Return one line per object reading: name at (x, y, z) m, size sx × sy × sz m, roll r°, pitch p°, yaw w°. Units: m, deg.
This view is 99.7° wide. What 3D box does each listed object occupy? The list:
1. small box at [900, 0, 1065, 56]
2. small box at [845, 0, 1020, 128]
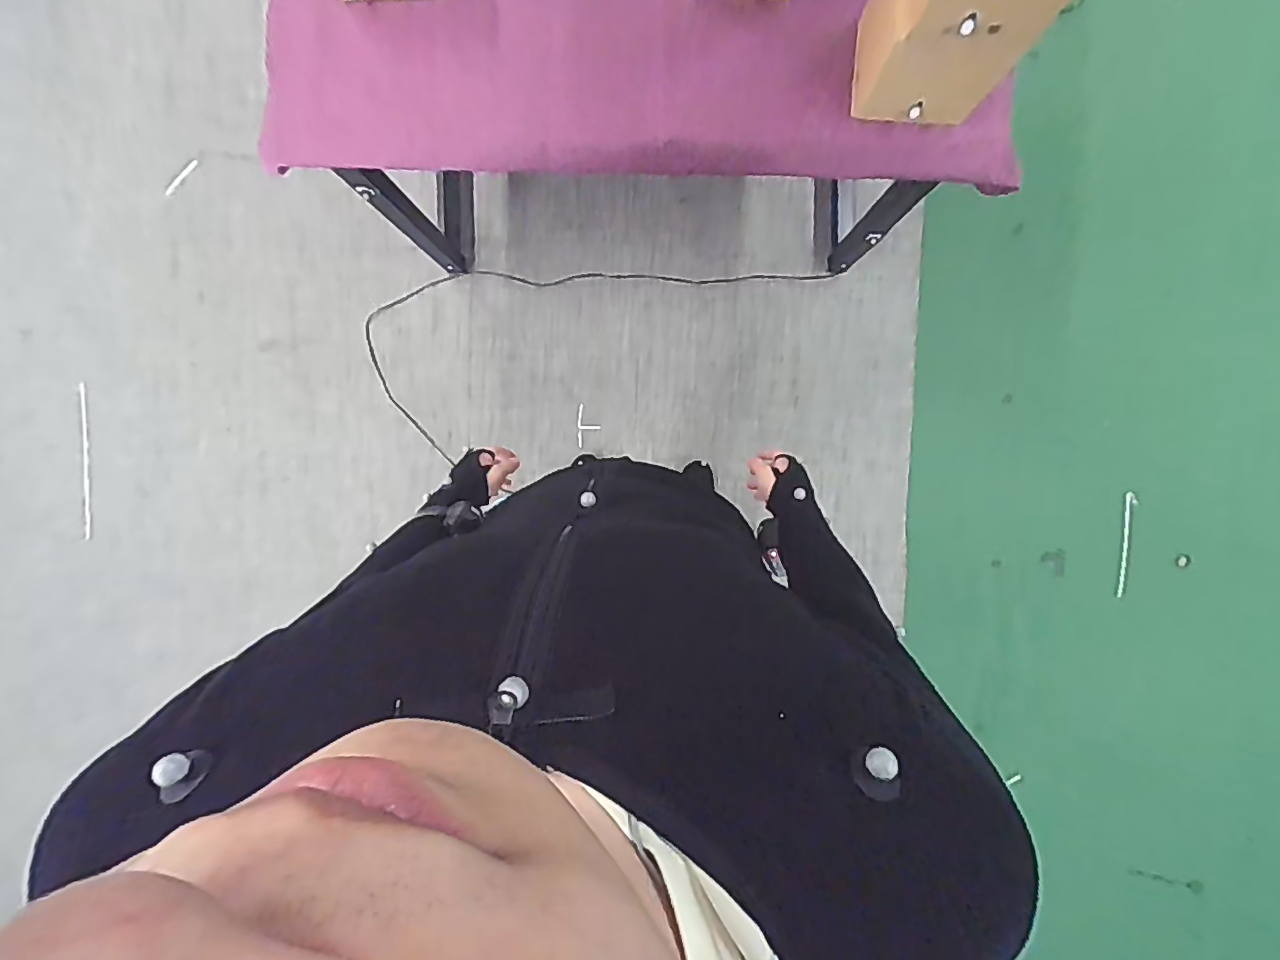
small box at (0.425, -0.650, 0.632) m, size 0.168 × 0.176 × 0.179 m, roll 5°, pitch 92°, yaw 3°
small box at (0.426, -0.652, 0.795) m, size 0.179 × 0.176 × 0.168 m, roll 5°, pitch 91°, yaw 1°
